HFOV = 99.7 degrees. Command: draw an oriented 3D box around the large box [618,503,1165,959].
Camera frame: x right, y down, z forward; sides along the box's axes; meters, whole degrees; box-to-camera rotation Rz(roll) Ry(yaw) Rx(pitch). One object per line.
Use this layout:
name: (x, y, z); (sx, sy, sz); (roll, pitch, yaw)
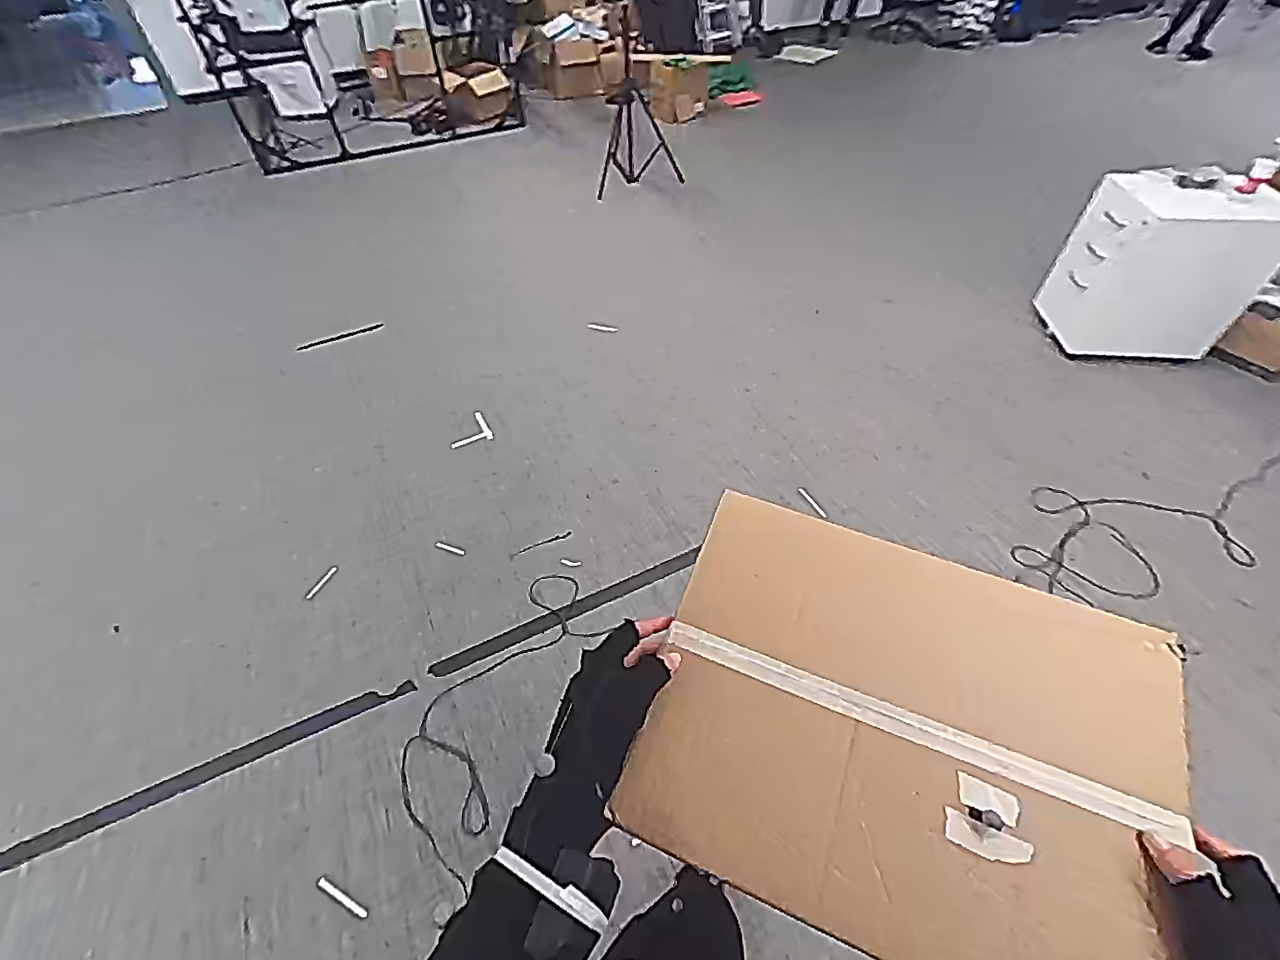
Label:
large box: (0.224, 0.276, 0.593); (0.408, 0.320, 0.320); (18, 64, 13)
